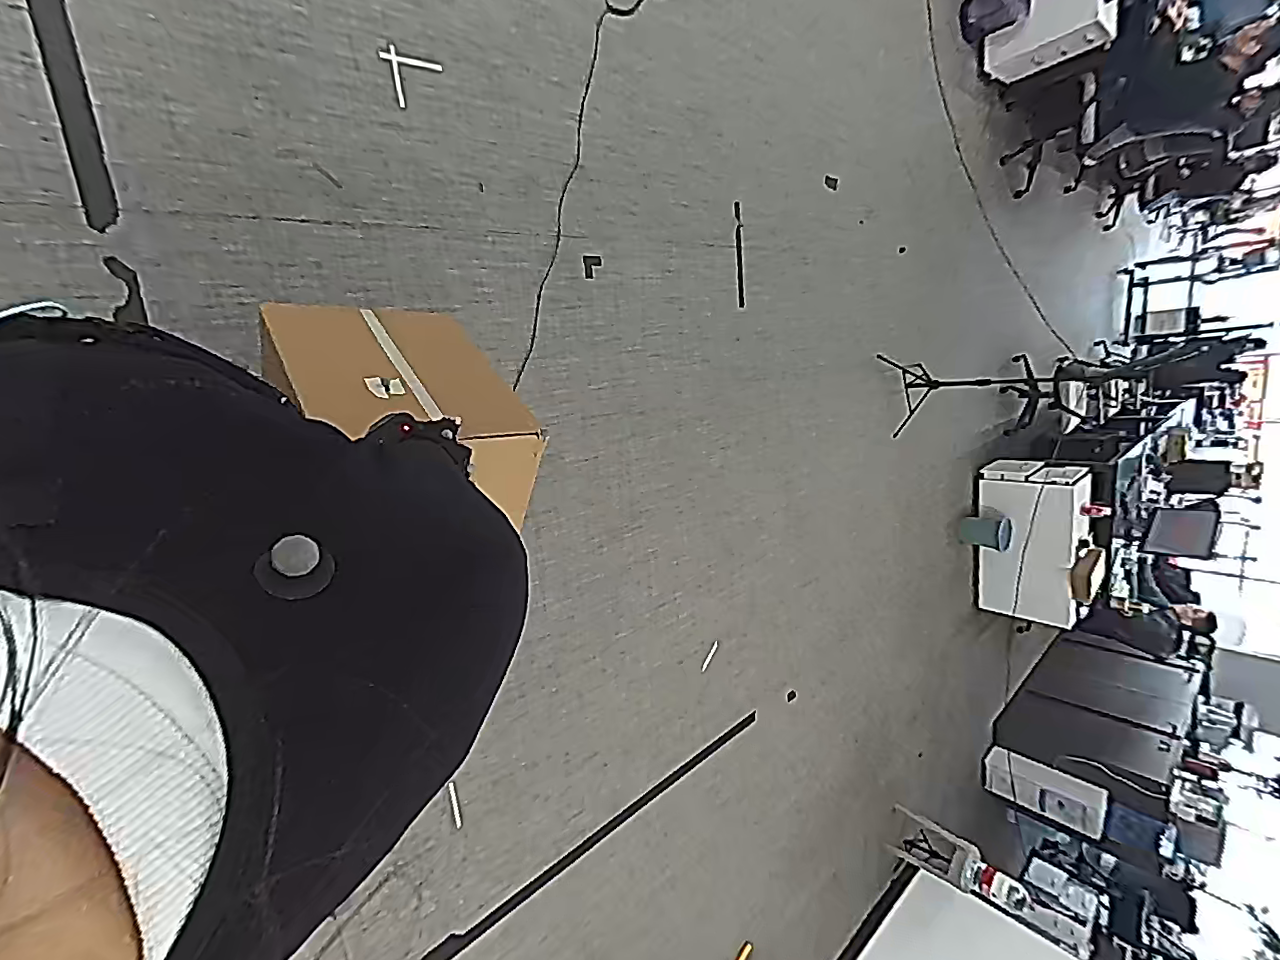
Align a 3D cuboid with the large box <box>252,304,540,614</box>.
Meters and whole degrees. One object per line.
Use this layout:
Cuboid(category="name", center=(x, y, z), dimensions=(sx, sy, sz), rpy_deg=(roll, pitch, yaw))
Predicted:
Cuboid(category="large box", center=(-0.431, -0.054, 0.919), dimensions=(0.320, 0.408, 0.320), rpy_deg=(-10, 137, -39))
